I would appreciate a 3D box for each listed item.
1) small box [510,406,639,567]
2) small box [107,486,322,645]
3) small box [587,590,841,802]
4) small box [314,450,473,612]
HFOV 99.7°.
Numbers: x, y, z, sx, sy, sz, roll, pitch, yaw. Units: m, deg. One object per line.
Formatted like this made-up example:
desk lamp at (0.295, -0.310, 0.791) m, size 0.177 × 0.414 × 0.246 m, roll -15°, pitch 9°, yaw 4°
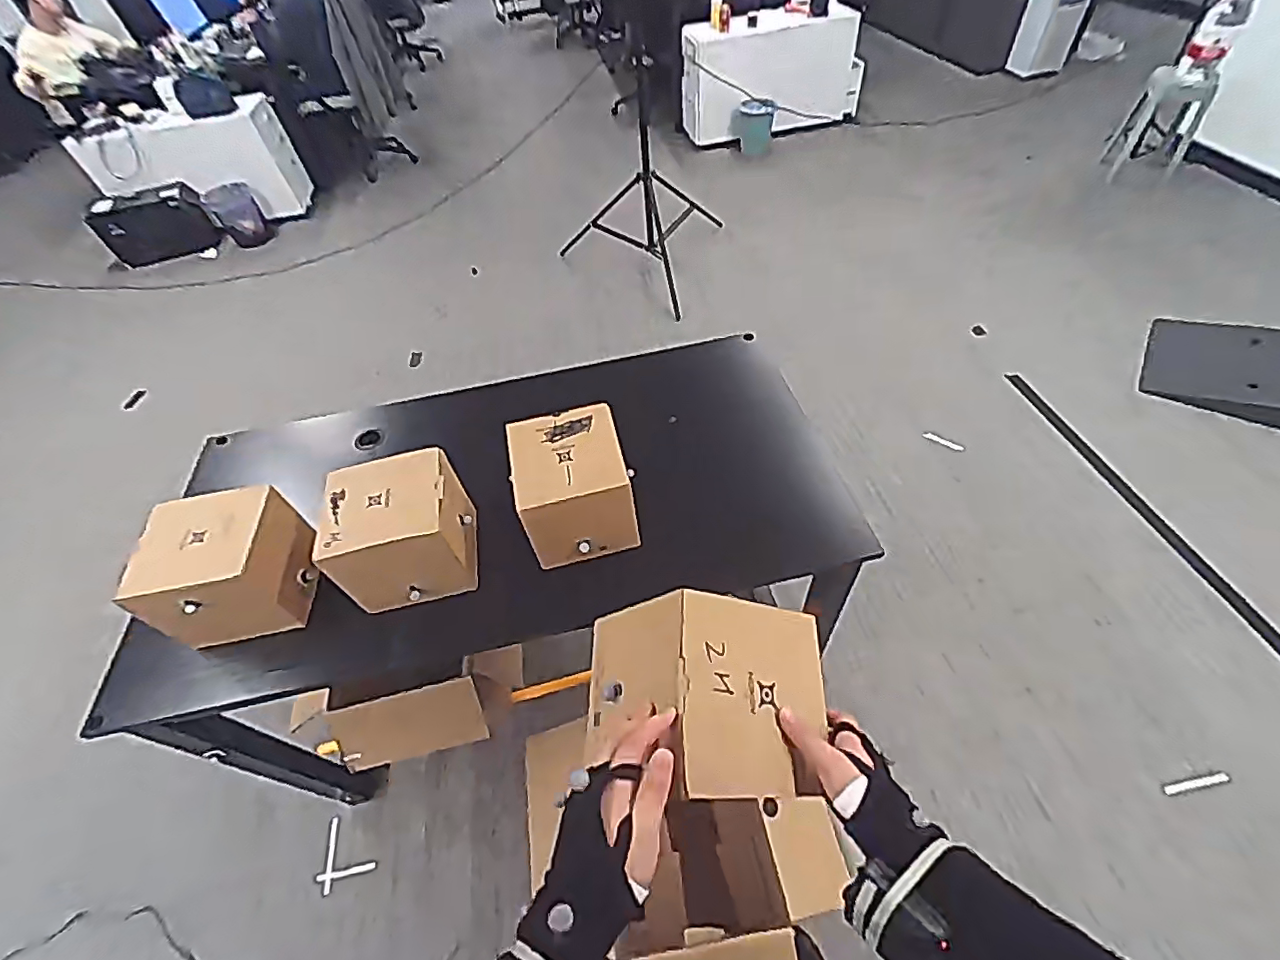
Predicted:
small box at (-0.103, 0.012, 0.868) m, size 0.168 × 0.176 × 0.179 m, roll -13°, pitch 51°, yaw -4°
small box at (-0.622, 0.135, 0.825) m, size 0.179 × 0.176 × 0.168 m, roll -10°, pitch 51°, yaw -3°
small box at (0.066, 0.221, 0.542) m, size 0.179 × 0.176 × 0.168 m, roll 16°, pitch 58°, yaw -27°
small box at (-0.365, 0.082, 0.841) m, size 0.179 × 0.176 × 0.168 m, roll -12°, pitch 50°, yaw -6°
